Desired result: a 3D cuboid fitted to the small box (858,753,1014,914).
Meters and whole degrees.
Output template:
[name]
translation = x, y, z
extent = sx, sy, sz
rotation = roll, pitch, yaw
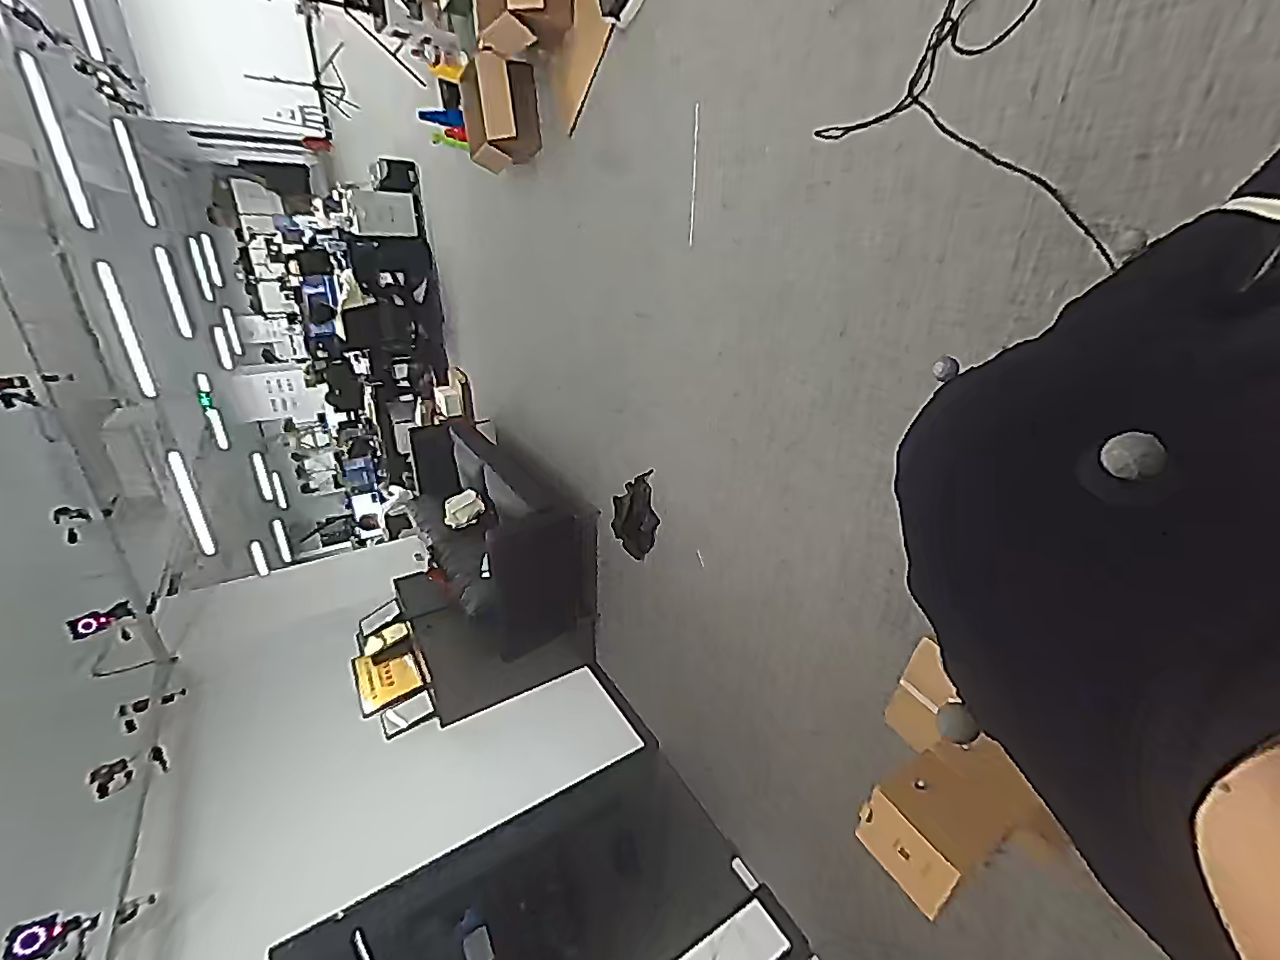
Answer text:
[small box]
translation = 0.559, 0.657, 1.033
extent = 0.179, 0.176, 0.168
rotation = 40, 136, 47
